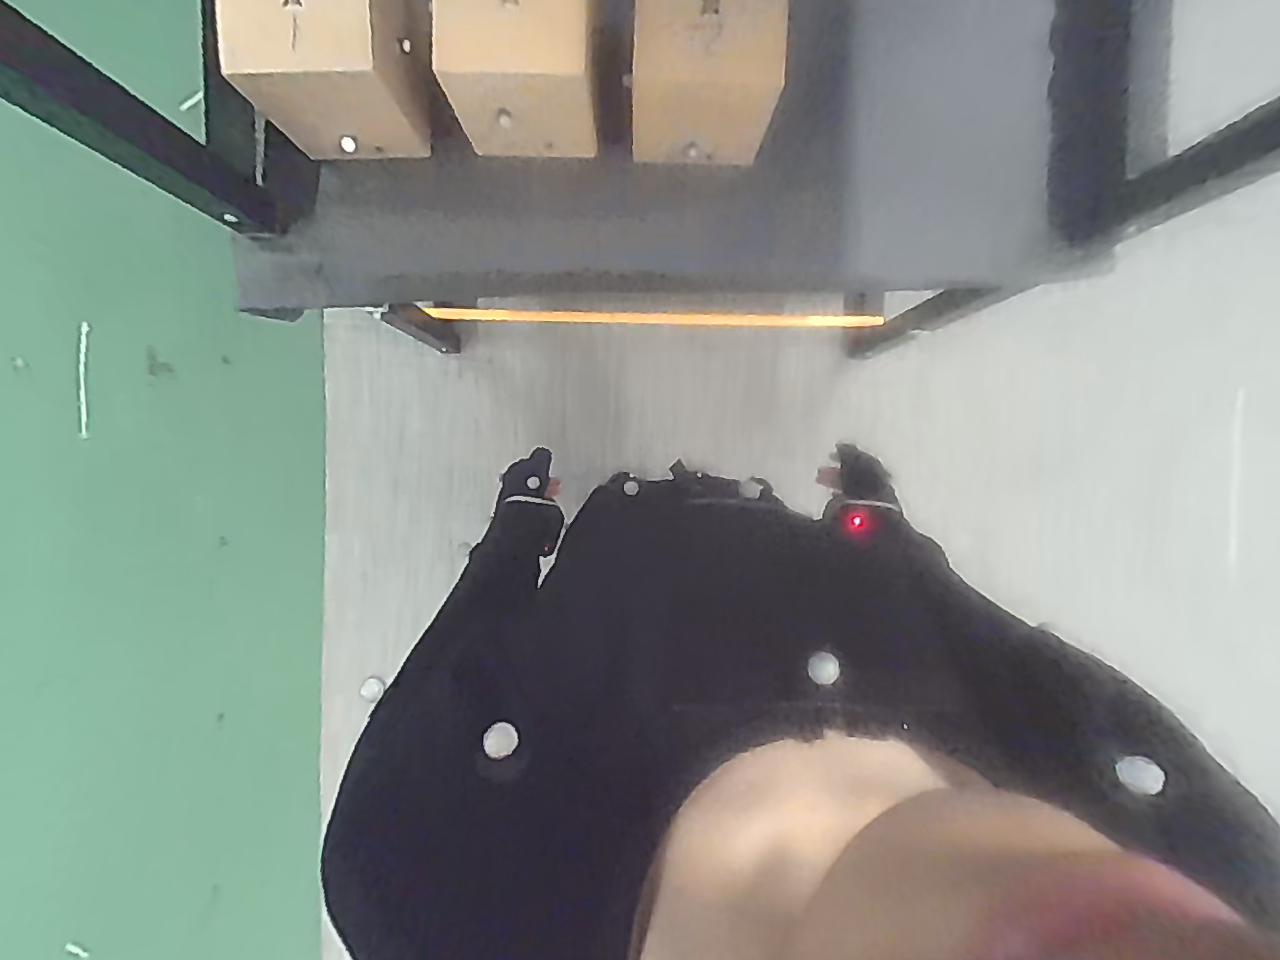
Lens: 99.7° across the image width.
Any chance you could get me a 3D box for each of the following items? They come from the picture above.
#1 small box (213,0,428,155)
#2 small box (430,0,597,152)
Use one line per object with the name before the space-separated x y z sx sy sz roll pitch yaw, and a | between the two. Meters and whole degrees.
small box | -0.367 -0.525 0.649 0.168 0.176 0.179 -1 92 0
small box | -0.140 -0.528 0.653 0.168 0.176 0.179 1 91 -1
